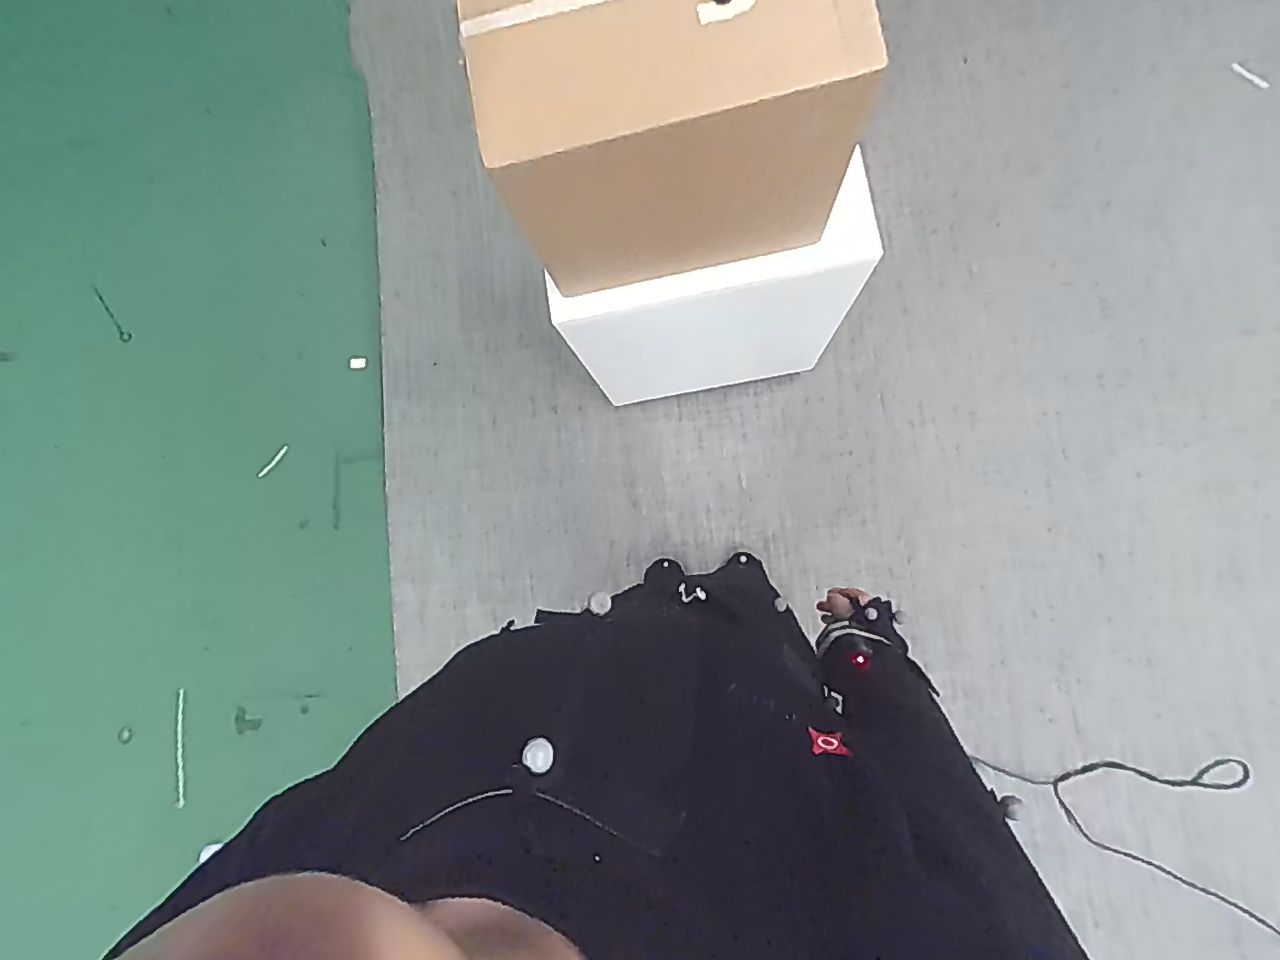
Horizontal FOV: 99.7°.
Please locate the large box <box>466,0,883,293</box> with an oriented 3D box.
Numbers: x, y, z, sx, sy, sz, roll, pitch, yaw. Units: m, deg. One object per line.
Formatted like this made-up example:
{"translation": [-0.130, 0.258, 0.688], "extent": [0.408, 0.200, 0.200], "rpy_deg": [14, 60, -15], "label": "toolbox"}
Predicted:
{"translation": [0.029, -0.490, 0.702], "extent": [0.408, 0.320, 0.320], "rpy_deg": [-11, 84, 4], "label": "large box"}
